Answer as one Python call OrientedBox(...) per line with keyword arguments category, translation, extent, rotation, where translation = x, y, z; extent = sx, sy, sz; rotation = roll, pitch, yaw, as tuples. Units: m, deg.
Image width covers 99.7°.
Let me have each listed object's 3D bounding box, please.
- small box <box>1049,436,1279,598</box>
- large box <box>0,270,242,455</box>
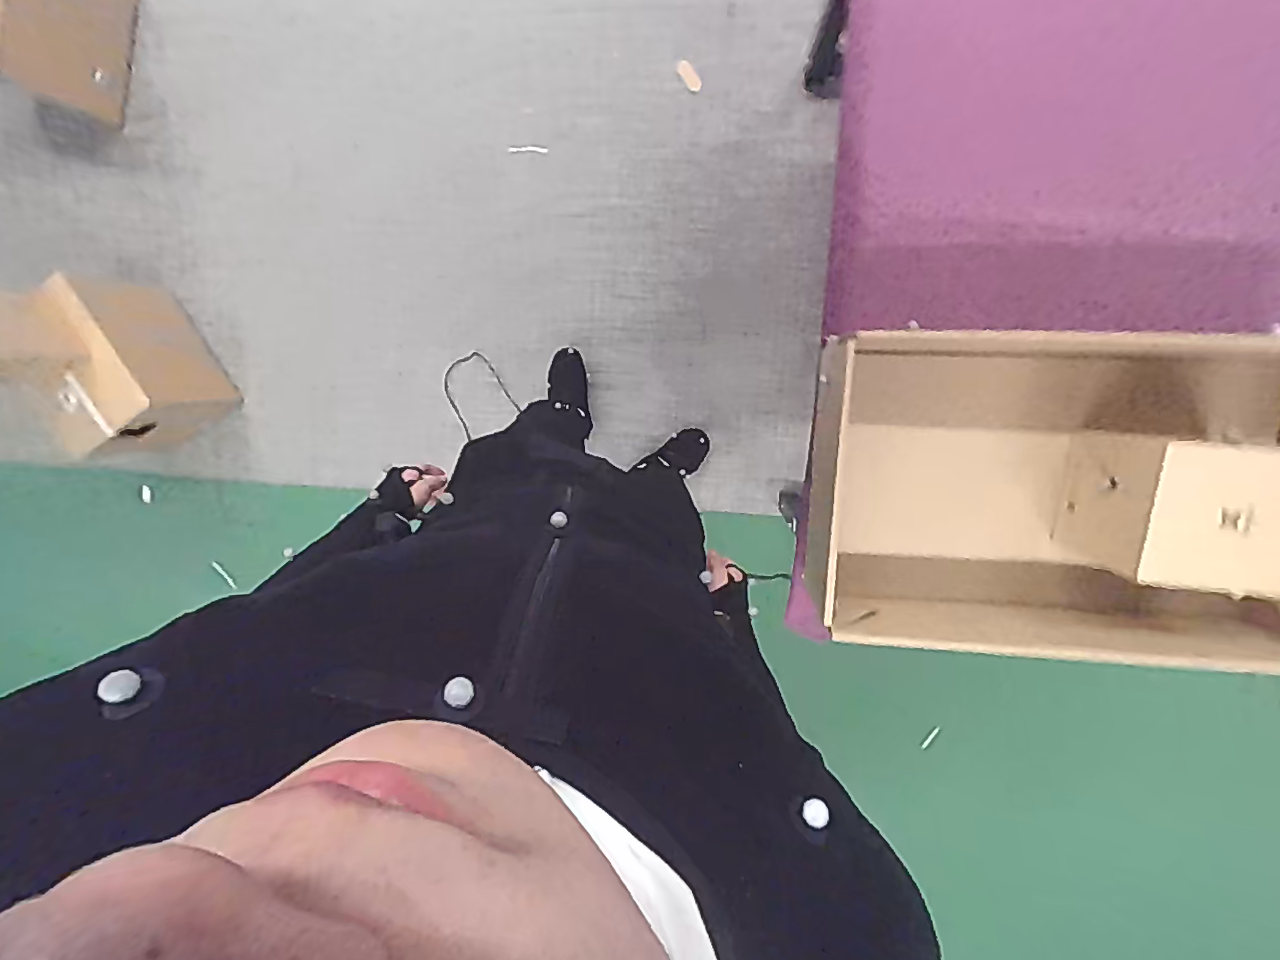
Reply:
OrientedBox(category="small box", translation=(0.675, 0.035, 0.694), extent=(0.179, 0.176, 0.168), rotation=(5, 99, 6))
OrientedBox(category="large box", translation=(-1.512, -0.337, 1.590), extent=(0.320, 0.320, 0.408), rotation=(-29, 97, 12))
